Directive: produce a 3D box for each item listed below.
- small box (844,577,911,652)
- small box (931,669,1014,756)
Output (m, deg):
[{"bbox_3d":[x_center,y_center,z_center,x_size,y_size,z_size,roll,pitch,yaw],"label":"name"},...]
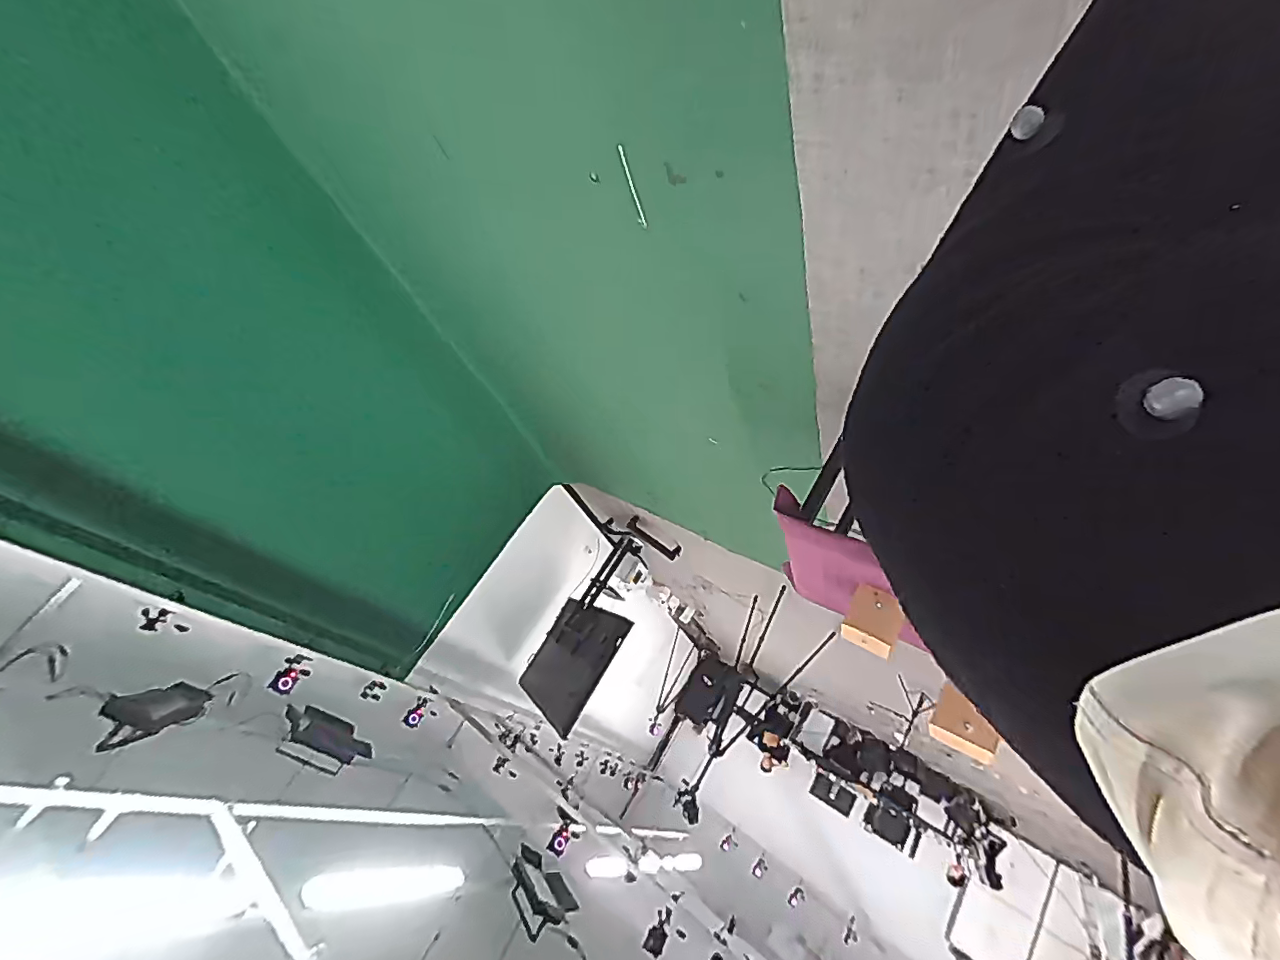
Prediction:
[{"bbox_3d":[0.828,0.469,1.891,0.168,0.176,0.179,22,159,30],"label":"small box"},{"bbox_3d":[1.013,0.704,1.648,0.179,0.176,0.168,19,156,36],"label":"small box"}]
